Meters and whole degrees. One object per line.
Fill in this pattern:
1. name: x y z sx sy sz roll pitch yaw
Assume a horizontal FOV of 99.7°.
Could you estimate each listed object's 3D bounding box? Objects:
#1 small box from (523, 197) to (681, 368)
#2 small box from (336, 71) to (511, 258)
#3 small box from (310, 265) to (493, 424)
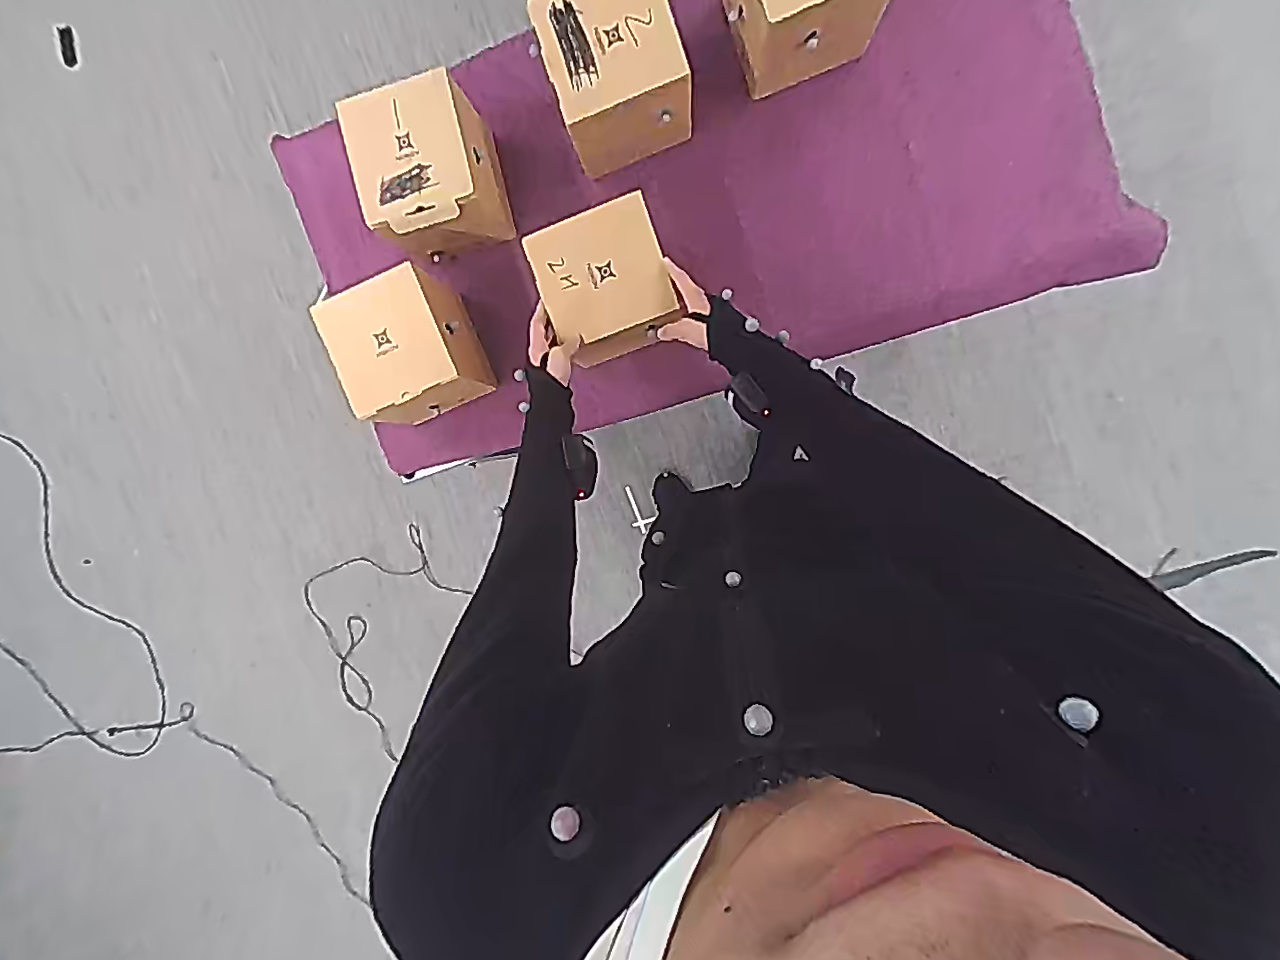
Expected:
1. small box: -0.046 -0.277 0.801 0.179 0.176 0.168 -18 92 7
2. small box: -0.310 -0.453 0.813 0.168 0.176 0.179 -13 94 6
3. small box: -0.355 -0.196 0.838 0.168 0.176 0.179 -23 93 5
